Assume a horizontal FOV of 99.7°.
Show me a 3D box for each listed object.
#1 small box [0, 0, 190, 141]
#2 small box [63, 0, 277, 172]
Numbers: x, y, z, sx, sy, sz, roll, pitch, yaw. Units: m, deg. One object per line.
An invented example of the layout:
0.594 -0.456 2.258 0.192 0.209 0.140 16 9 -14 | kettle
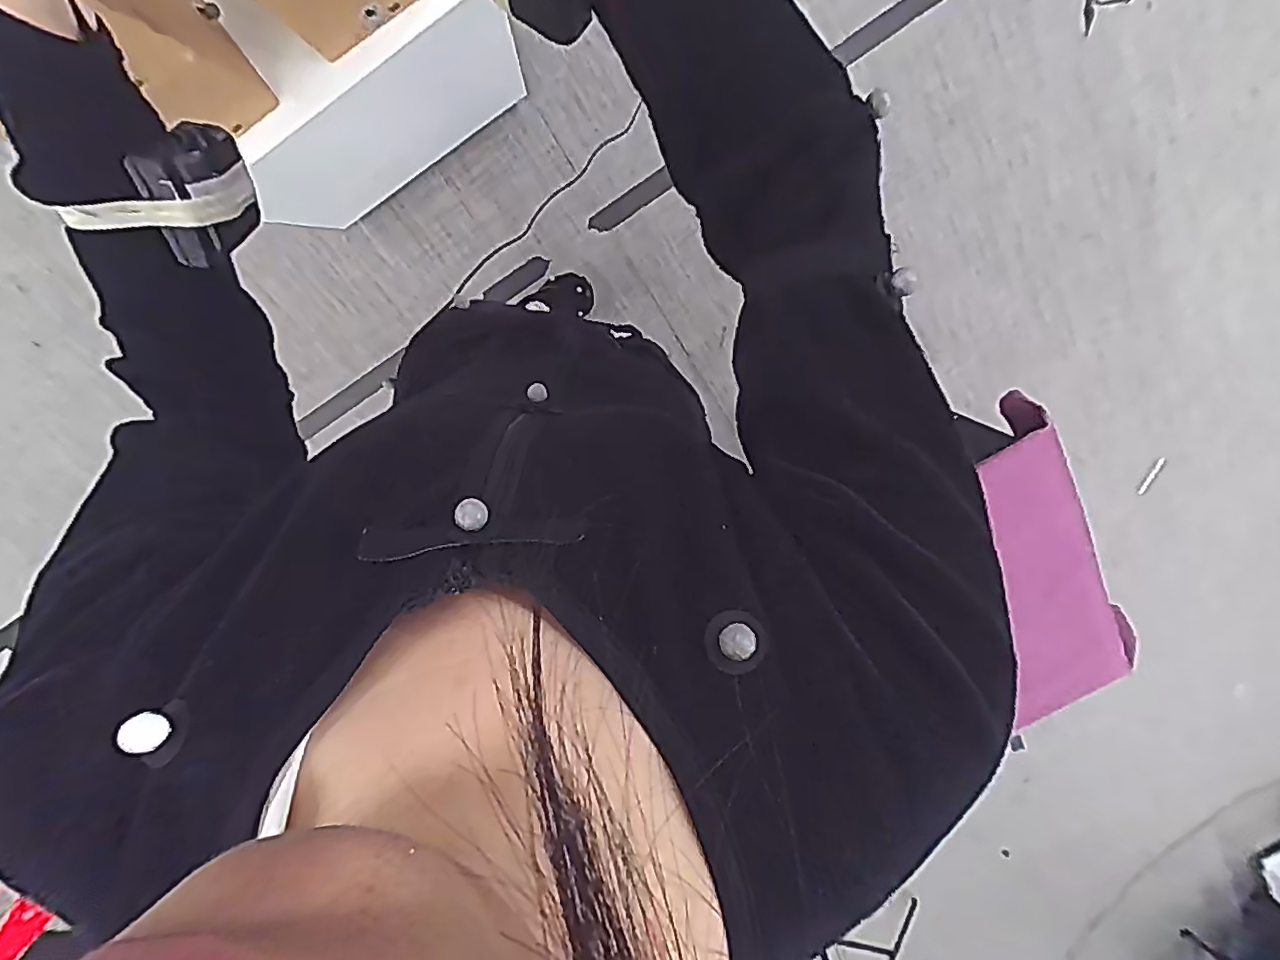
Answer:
-0.527 -0.402 0.427 0.168 0.176 0.179 -33 112 7 | small box
-0.549 -0.464 0.575 0.168 0.176 0.179 -32 112 7 | small box
